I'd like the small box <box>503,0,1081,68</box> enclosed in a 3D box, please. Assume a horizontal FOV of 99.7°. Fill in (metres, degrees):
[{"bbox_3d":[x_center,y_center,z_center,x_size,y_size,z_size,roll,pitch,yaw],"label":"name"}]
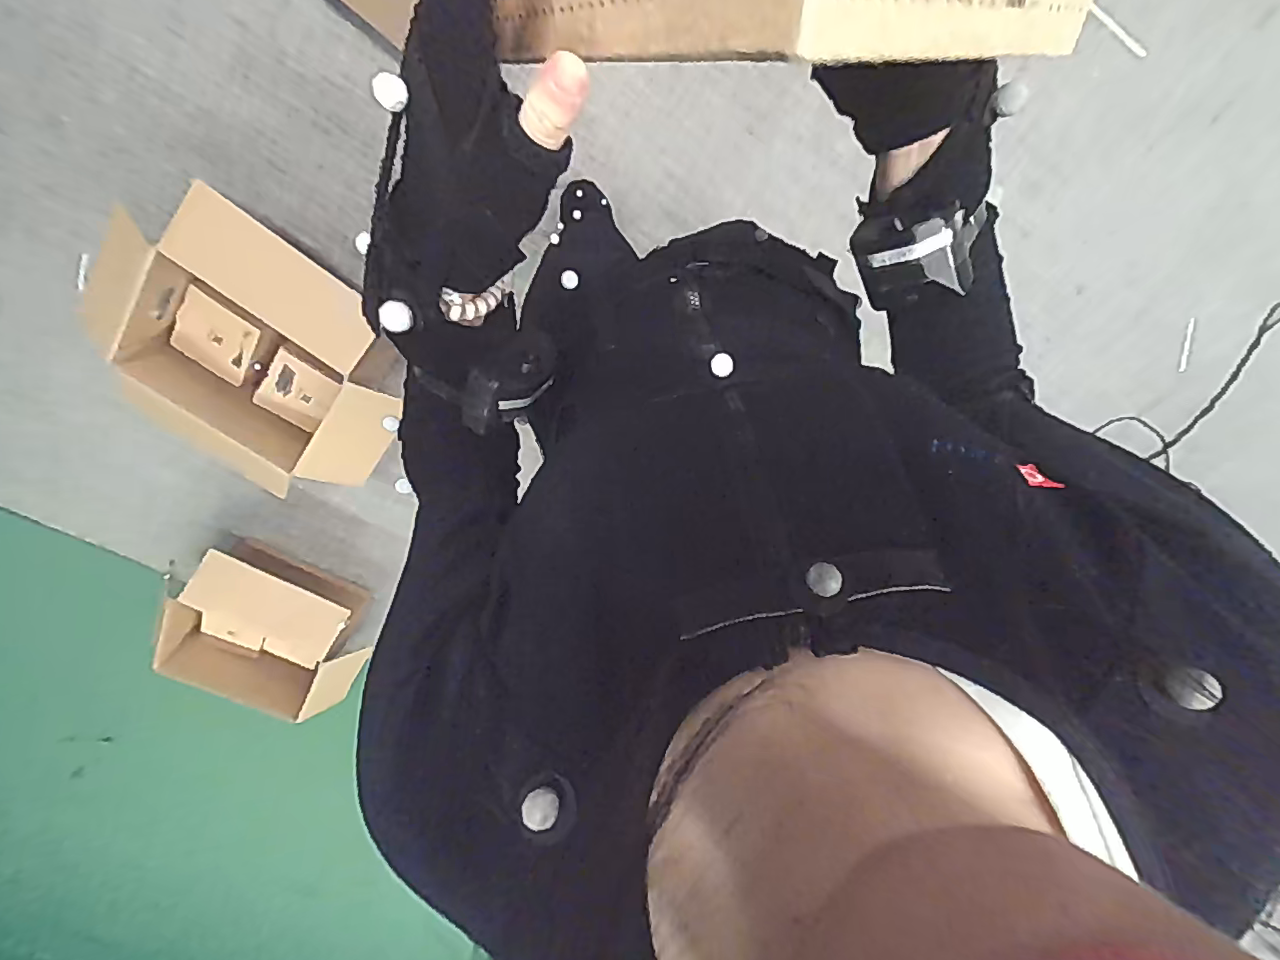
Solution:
[{"bbox_3d":[0.051,-0.243,0.175,0.168,0.179,0.176,-27,135,-29],"label":"small box"}]
